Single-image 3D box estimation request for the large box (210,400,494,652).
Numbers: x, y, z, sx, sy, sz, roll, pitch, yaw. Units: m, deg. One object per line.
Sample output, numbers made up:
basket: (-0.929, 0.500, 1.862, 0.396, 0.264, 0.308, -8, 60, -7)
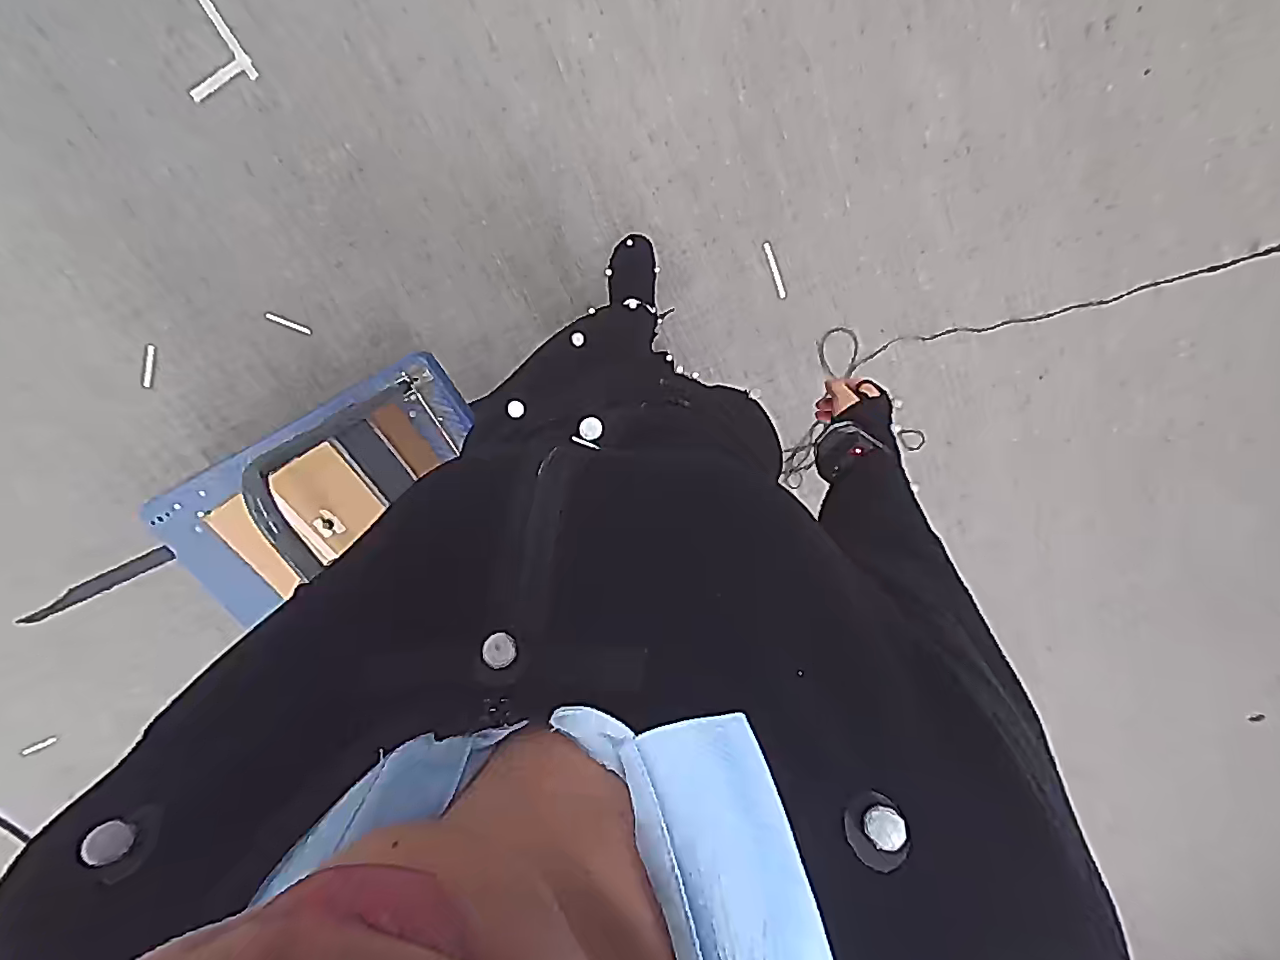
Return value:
large box: (-0.597, 0.092, 1.210, 0.320, 0.320, 0.408, -30, 109, 9)
